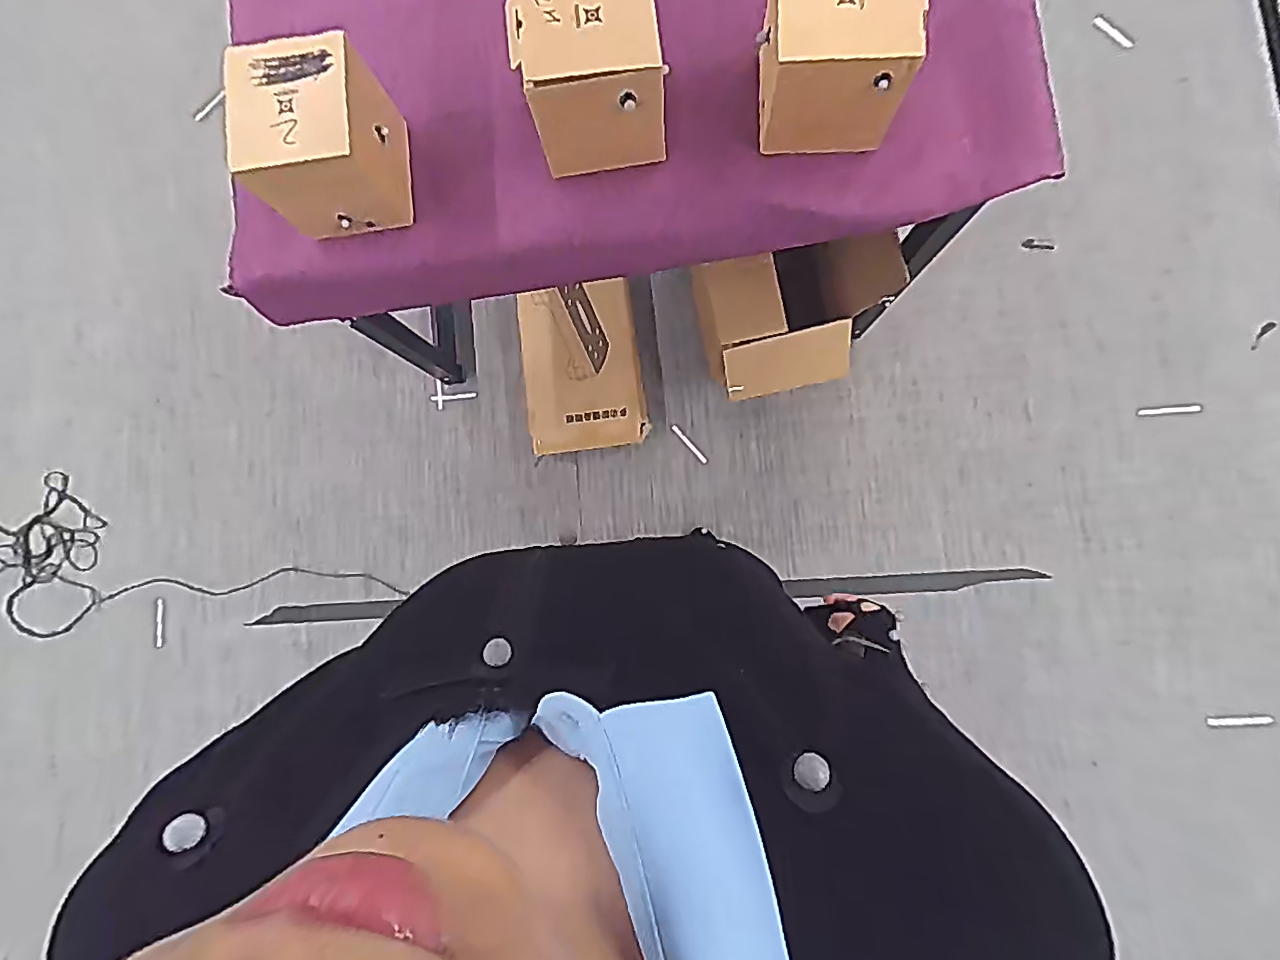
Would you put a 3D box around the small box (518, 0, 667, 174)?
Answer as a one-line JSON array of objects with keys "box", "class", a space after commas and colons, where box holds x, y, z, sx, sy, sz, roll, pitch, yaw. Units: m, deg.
[{"box": [-0.057, -0.558, 0.746, 0.179, 0.176, 0.168, -7, 82, 3], "class": "small box"}]

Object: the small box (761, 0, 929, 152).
[{"box": [0.261, -0.571, 0.727, 0.179, 0.176, 0.168, 0, 85, 4], "class": "small box"}]
